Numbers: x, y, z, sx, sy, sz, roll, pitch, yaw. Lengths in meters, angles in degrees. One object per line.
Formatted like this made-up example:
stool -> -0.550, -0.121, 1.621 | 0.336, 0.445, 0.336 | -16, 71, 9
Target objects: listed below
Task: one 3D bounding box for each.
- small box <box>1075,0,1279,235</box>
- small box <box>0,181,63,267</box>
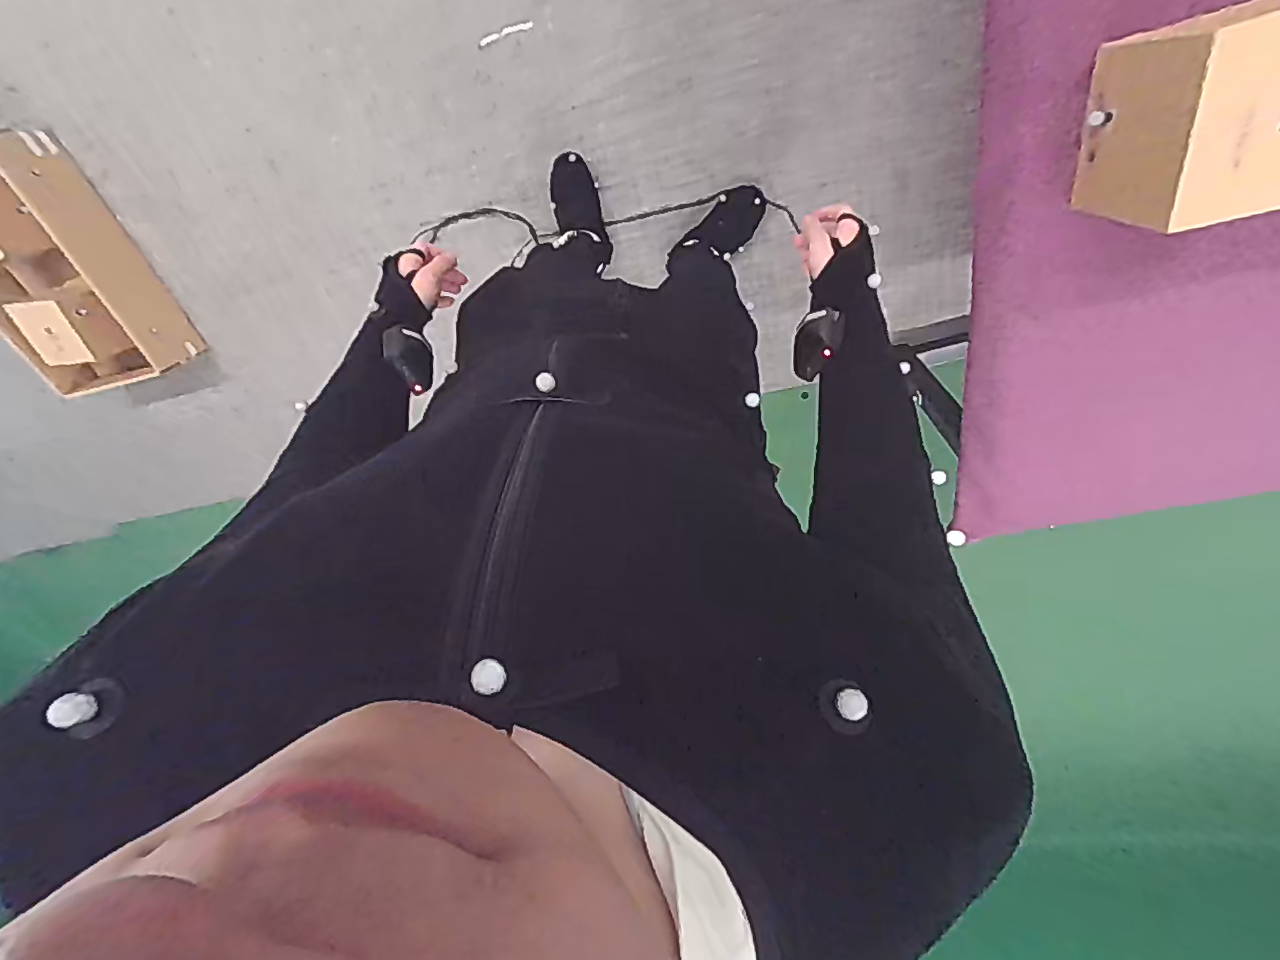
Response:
small box -> 0.586, -0.362, 0.531 | 0.179, 0.176, 0.168 | -9, 123, 12
small box -> -1.688, -0.656, 1.395 | 0.168, 0.176, 0.179 | -14, 123, 14
